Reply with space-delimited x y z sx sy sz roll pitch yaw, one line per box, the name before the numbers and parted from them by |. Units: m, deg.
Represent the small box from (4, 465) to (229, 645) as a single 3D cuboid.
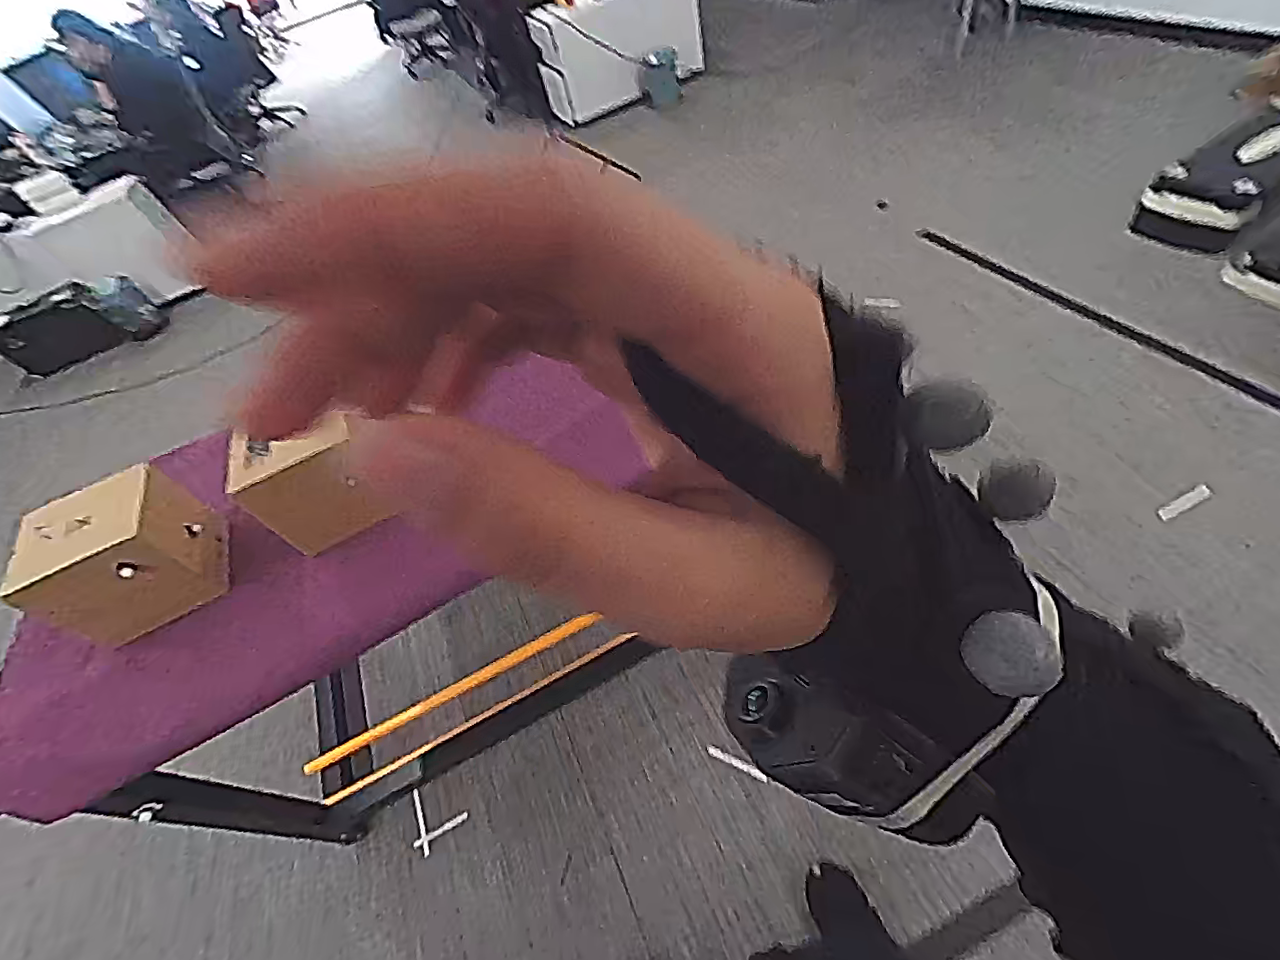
small box | -0.767 0.116 0.821 0.179 0.176 0.168 -29 50 -11
